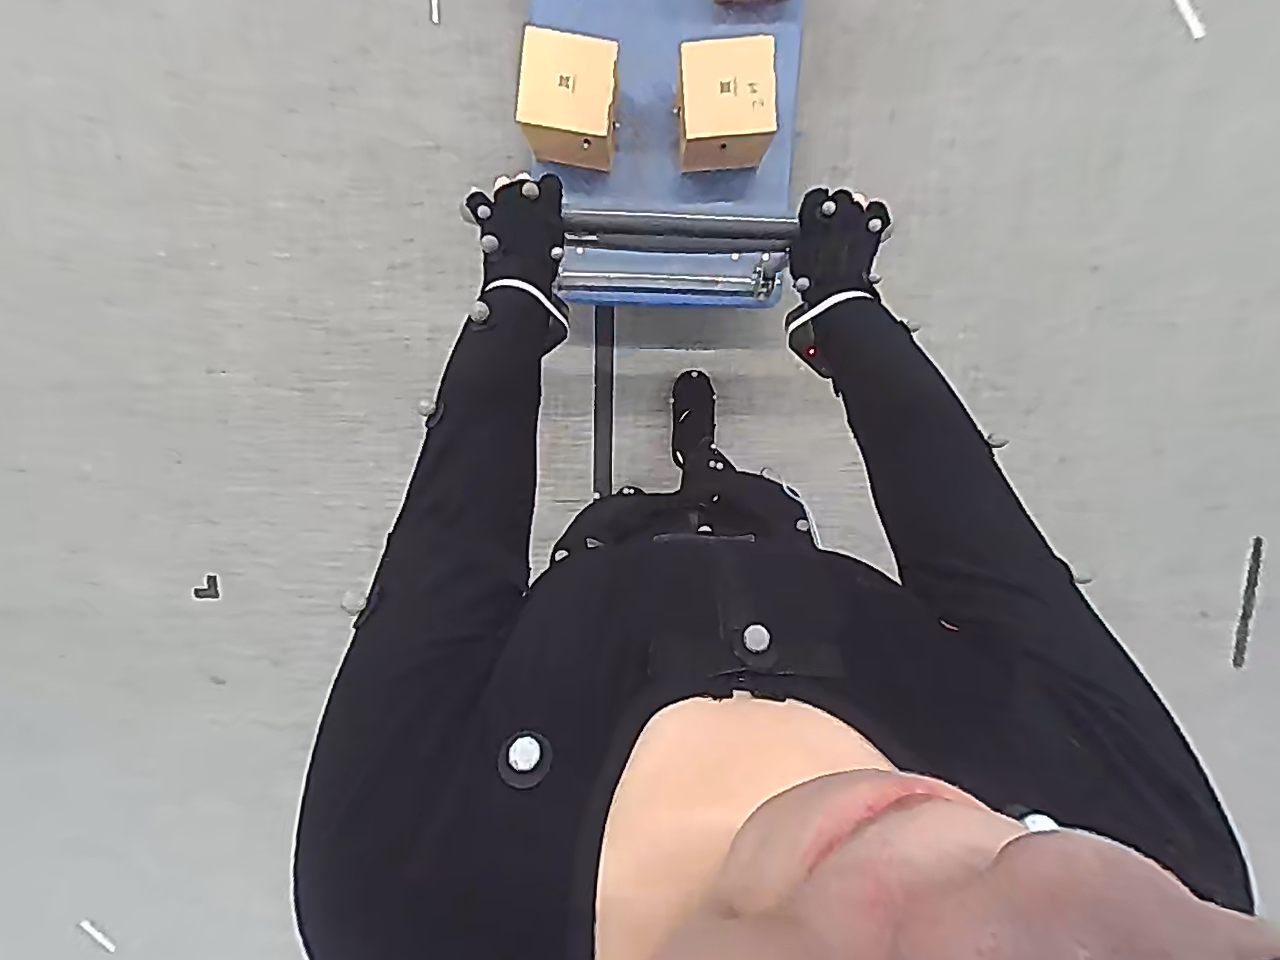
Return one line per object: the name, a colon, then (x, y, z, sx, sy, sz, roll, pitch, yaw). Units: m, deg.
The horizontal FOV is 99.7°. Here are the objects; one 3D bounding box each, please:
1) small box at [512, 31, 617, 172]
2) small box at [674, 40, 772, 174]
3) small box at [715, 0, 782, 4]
small box: (-0.145, -0.747, 1.086, 0.179, 0.176, 0.168, 8, 99, -3)
small box: (0.160, -0.737, 1.087, 0.179, 0.176, 0.168, -4, 100, 1)
small box: (0.222, -1.064, 1.031, 0.168, 0.176, 0.179, -2, 101, 0)
